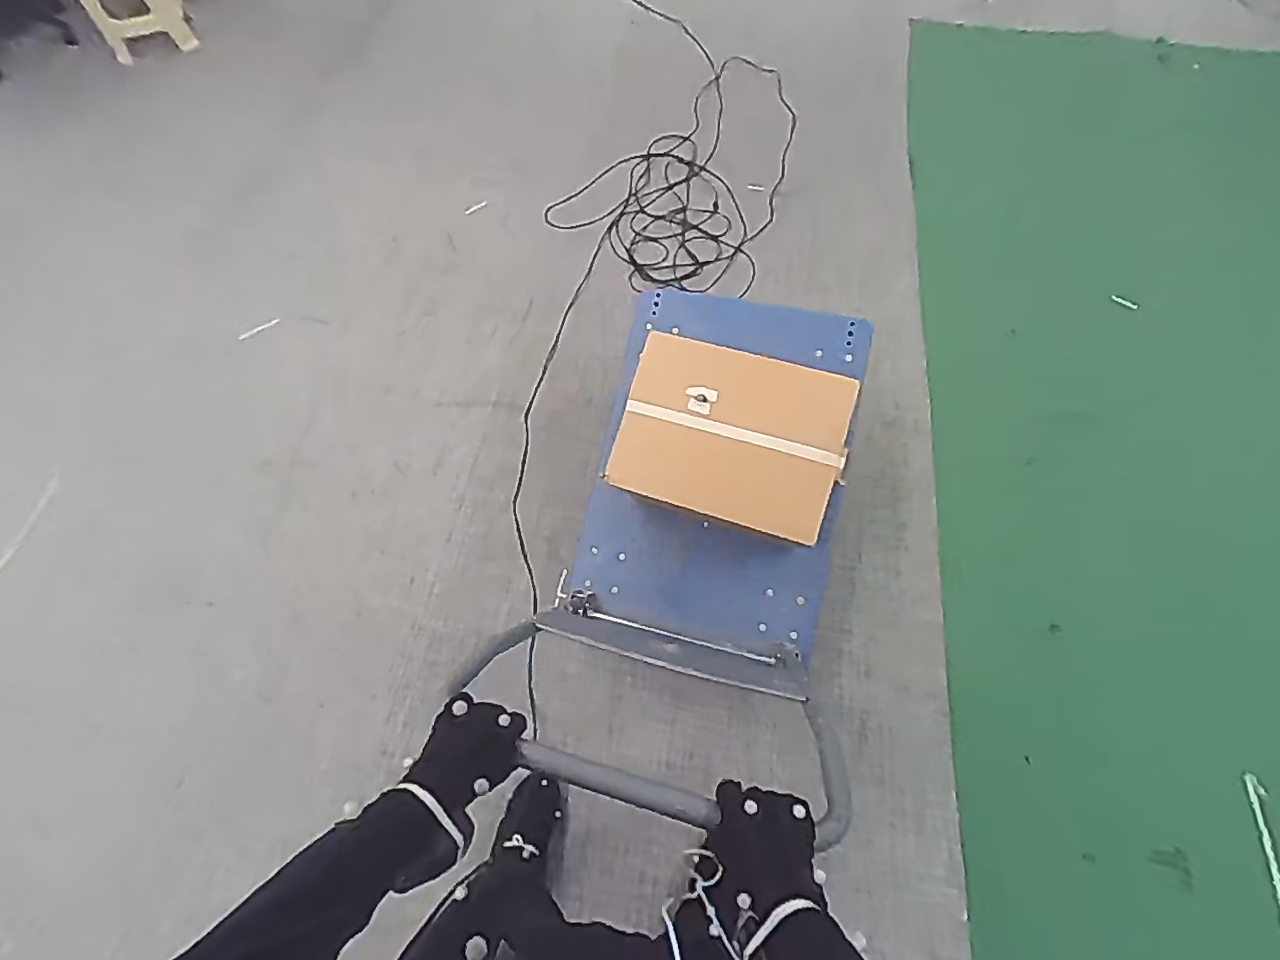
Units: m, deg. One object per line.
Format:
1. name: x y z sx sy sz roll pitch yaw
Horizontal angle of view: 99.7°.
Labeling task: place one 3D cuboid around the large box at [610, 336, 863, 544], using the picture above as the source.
1. large box: 0.202 -0.067 1.135 0.408 0.320 0.320 17 86 13
